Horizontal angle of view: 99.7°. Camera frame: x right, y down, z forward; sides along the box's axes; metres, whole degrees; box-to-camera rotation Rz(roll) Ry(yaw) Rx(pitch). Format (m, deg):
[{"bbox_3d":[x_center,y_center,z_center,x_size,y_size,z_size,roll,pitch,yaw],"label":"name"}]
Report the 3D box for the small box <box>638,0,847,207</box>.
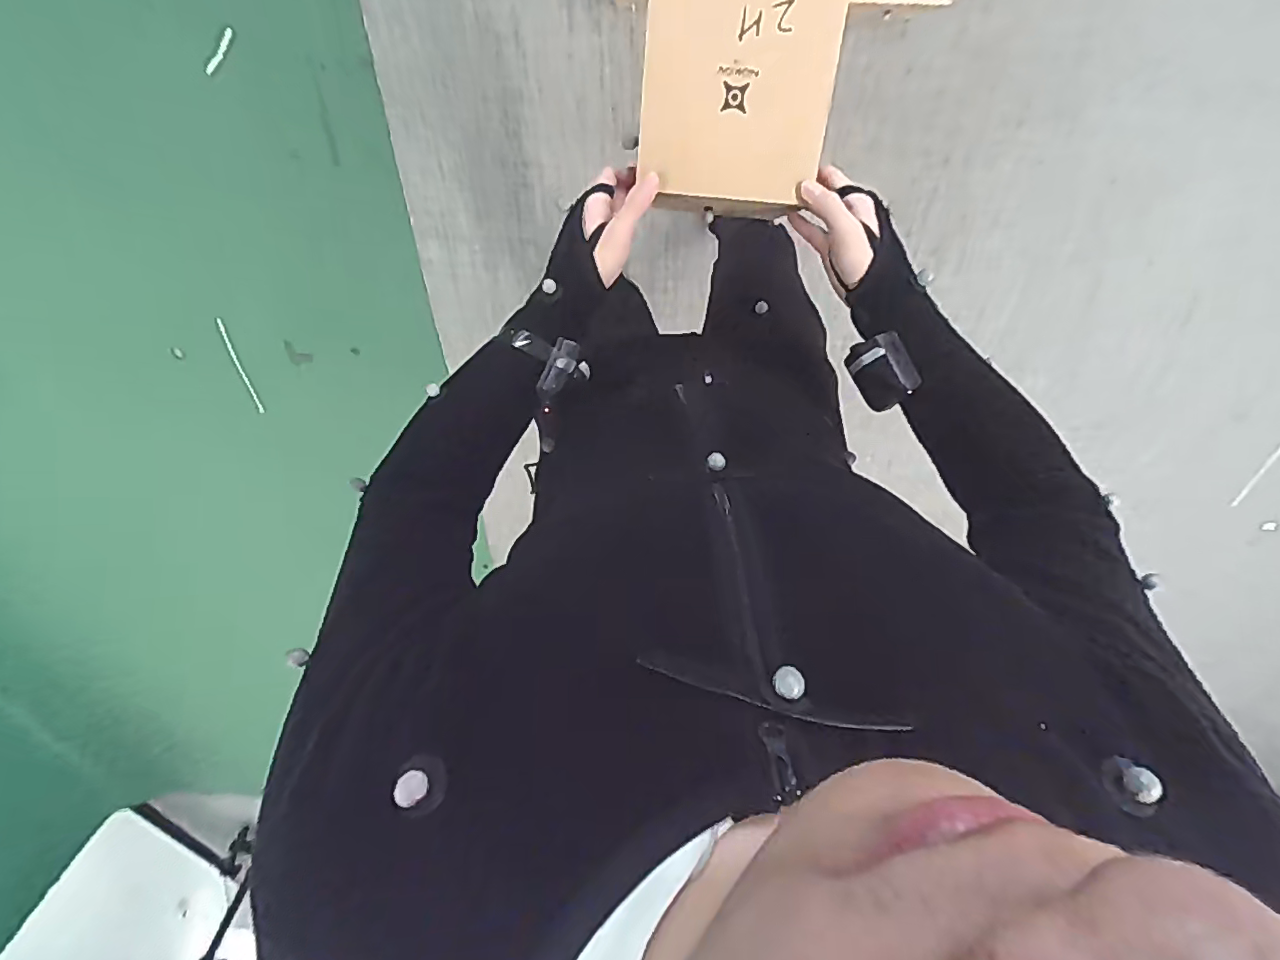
[{"bbox_3d":[0.089,-0.383,0.547,0.168,0.176,0.179,5,112,-1],"label":"small box"}]
